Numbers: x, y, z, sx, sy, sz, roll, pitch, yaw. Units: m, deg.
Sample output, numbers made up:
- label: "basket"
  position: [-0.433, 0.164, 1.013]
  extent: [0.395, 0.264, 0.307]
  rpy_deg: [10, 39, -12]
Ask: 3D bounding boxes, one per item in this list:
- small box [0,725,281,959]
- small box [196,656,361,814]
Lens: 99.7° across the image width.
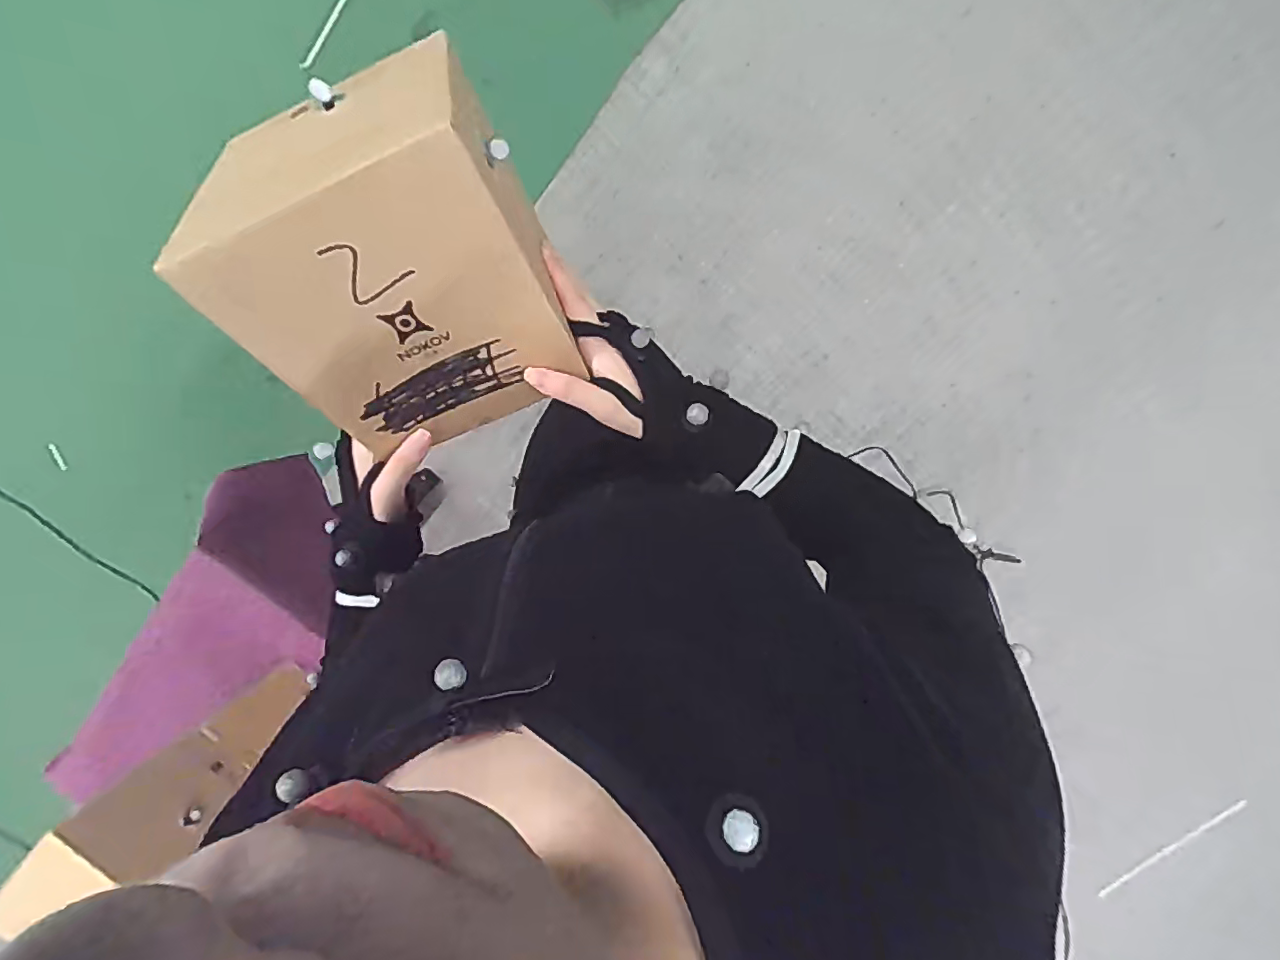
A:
- label: "small box"
  position: [-0.589, 0.444, 0.660]
  extent: [0.168, 0.176, 0.179]
  rpy_deg: [43, 103, -3]
- label: "small box"
  position: [-0.570, 0.410, 0.820]
  extent: [0.168, 0.176, 0.179]
  rpy_deg: [45, 103, -5]
